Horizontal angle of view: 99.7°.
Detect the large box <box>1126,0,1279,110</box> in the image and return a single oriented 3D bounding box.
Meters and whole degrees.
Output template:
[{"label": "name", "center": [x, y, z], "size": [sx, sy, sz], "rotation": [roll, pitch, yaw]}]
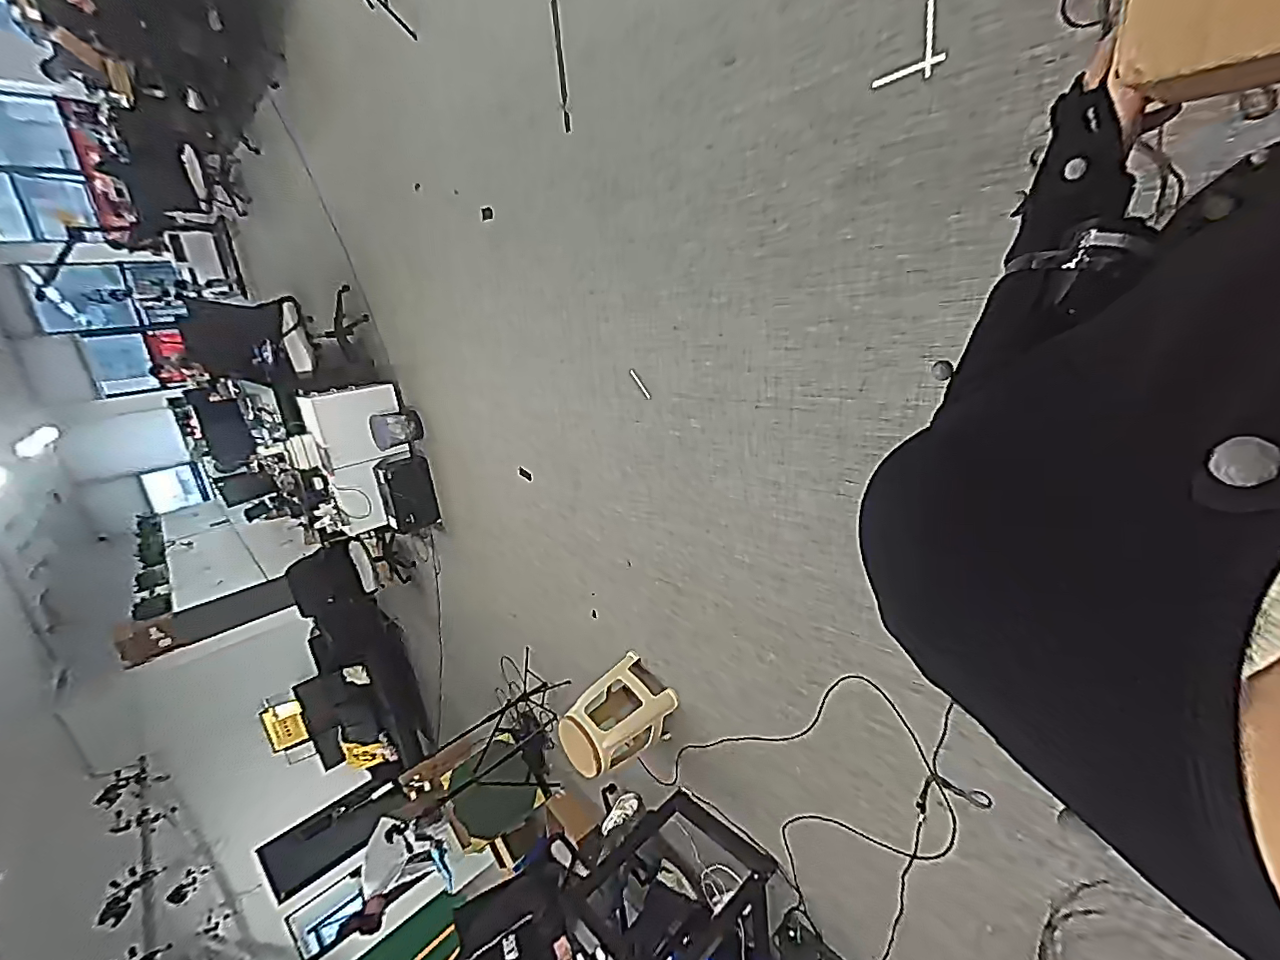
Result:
[{"label": "large box", "center": [0.429, -0.340, 0.145], "size": [0.408, 0.320, 0.320], "rotation": [12, 123, 41]}]
